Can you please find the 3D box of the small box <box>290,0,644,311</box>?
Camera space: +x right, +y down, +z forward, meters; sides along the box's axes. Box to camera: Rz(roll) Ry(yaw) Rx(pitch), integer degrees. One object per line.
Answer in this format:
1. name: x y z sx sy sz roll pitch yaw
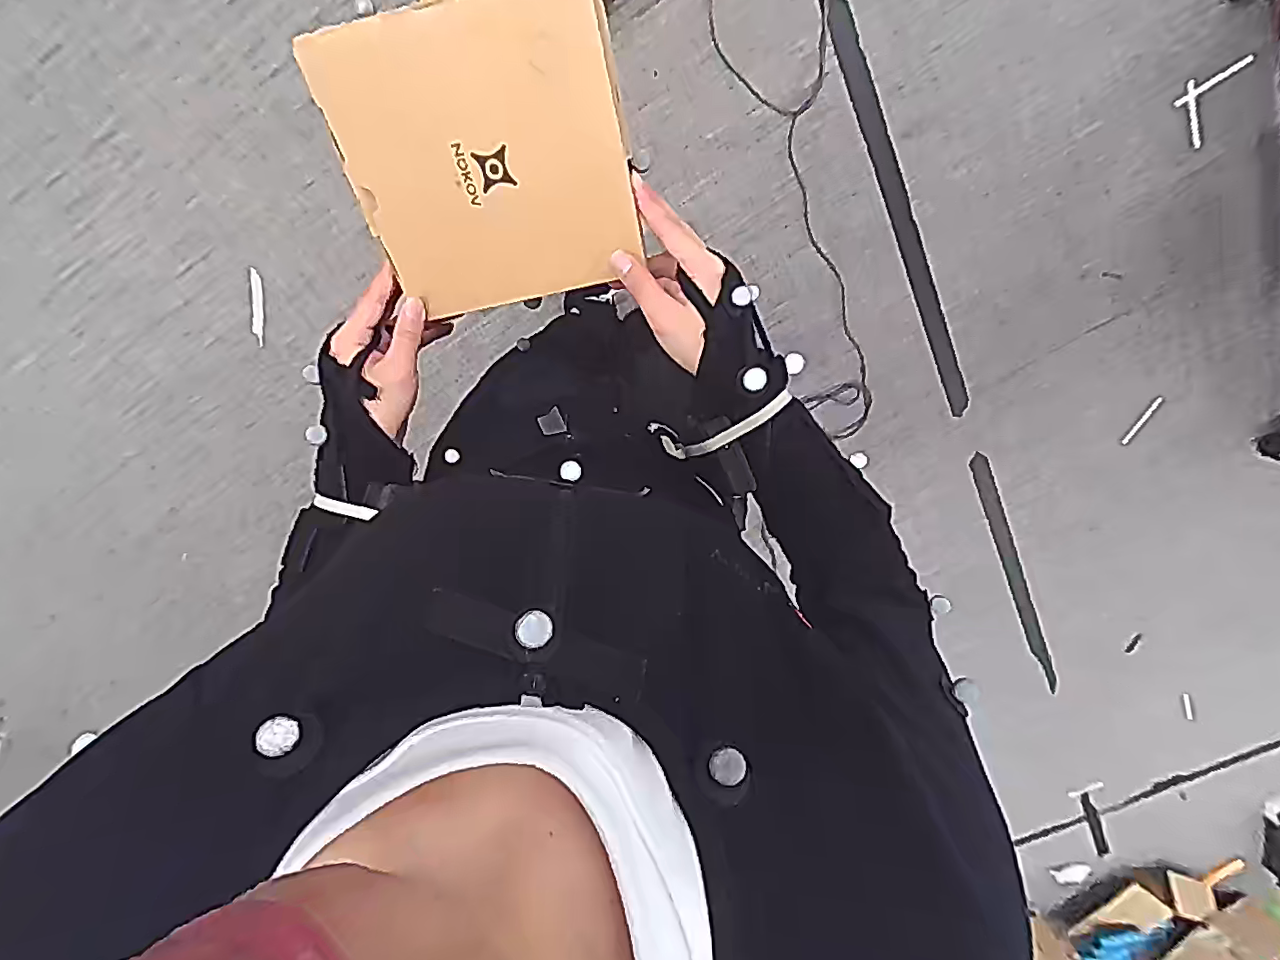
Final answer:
1. small box: -0.097 -0.247 0.401 0.179 0.176 0.168 -9 125 7
